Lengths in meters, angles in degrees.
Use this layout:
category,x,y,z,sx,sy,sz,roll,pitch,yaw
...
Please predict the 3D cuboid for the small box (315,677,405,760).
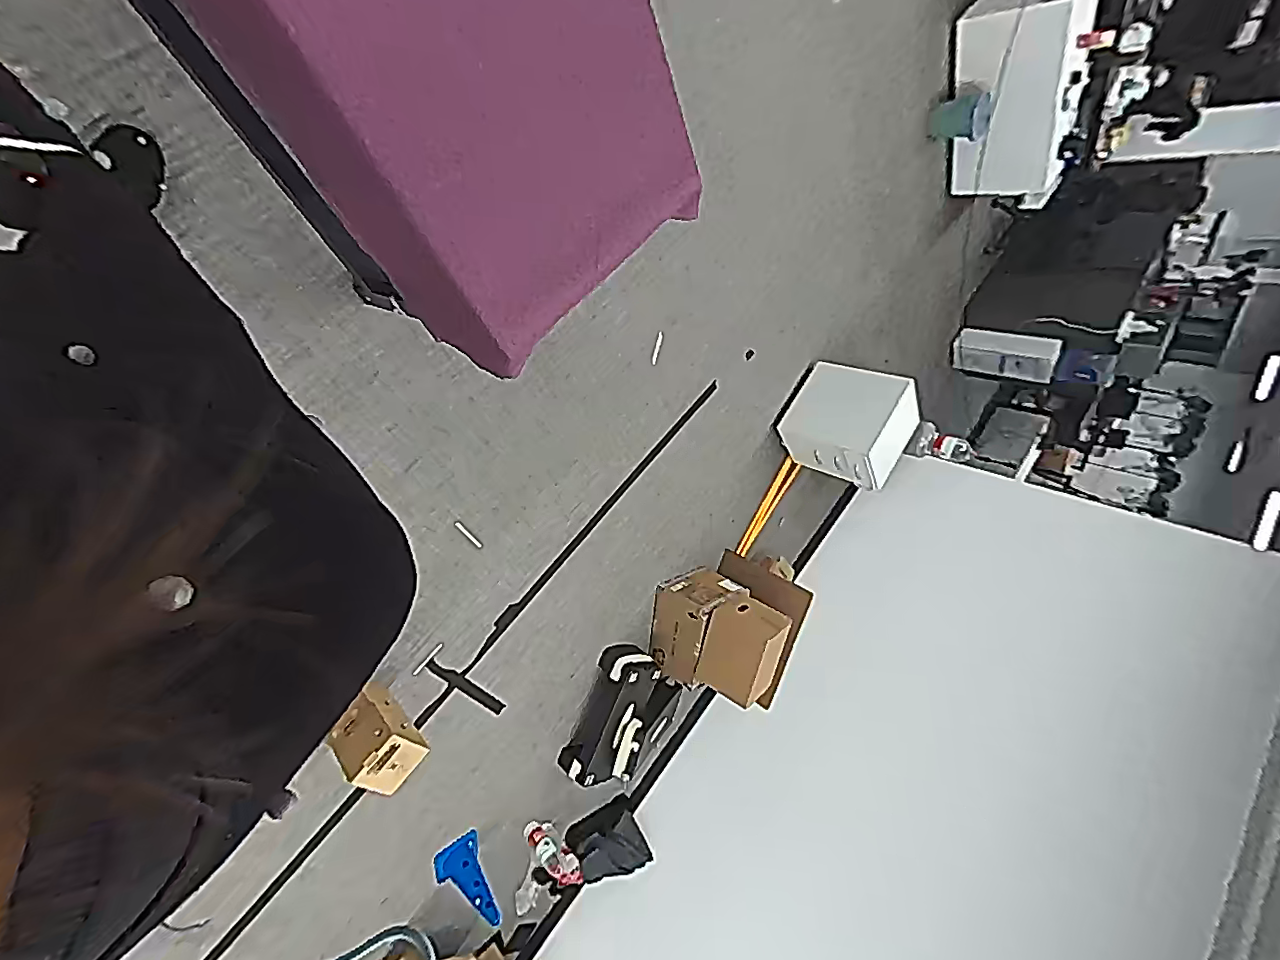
category,x,y,z,sx,sy,sz,roll,pitch,yaw
small box,-0.919,0.777,1.772,0.168,0.176,0.179,-50,137,-16
